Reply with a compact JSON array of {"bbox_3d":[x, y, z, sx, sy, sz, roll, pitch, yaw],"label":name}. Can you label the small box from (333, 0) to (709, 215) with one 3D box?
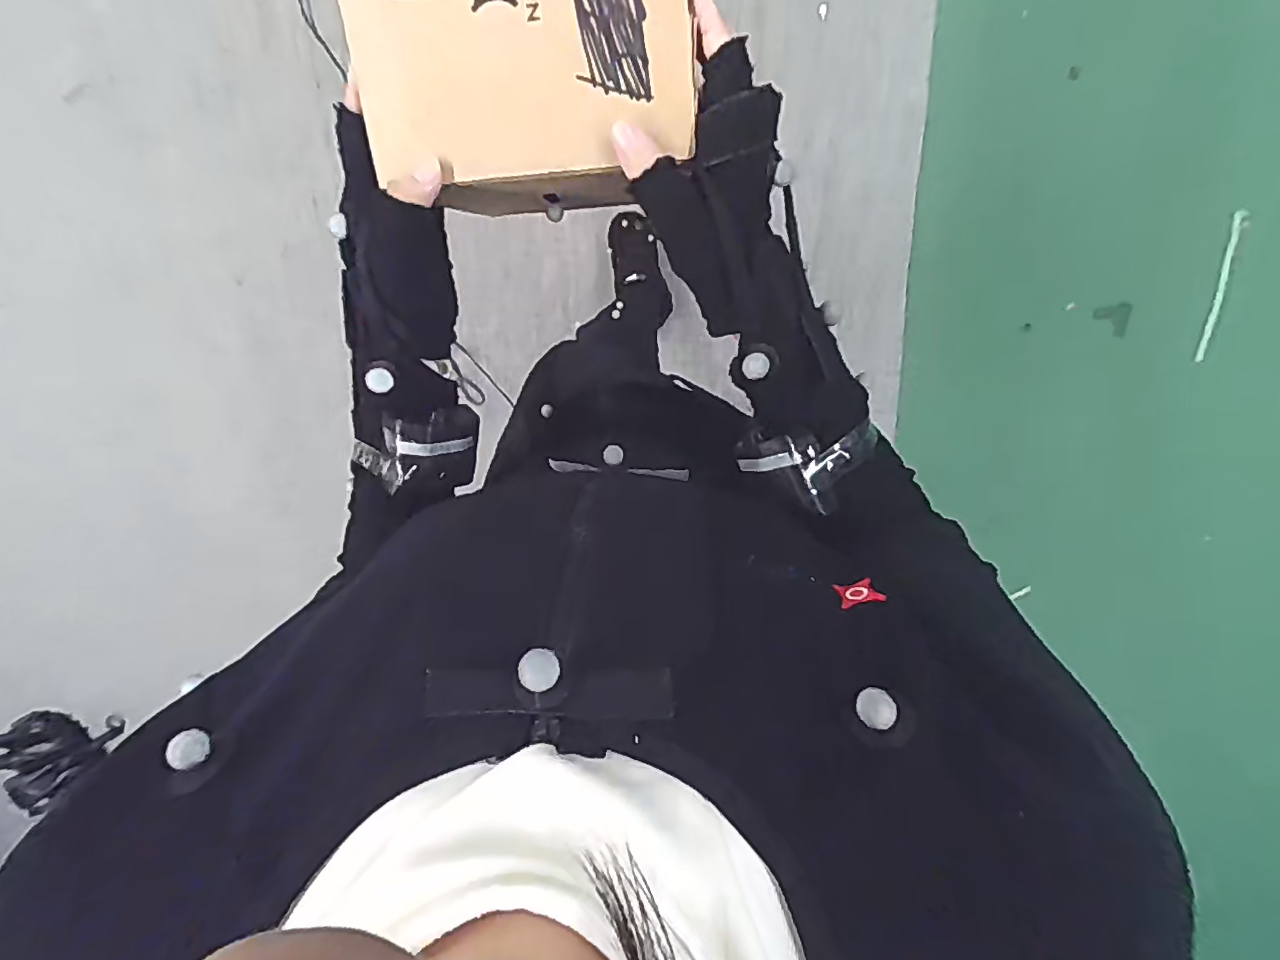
[{"bbox_3d":[-0.056,-0.264,0.325,0.179,0.176,0.168,-5,111,7],"label":"small box"}]
